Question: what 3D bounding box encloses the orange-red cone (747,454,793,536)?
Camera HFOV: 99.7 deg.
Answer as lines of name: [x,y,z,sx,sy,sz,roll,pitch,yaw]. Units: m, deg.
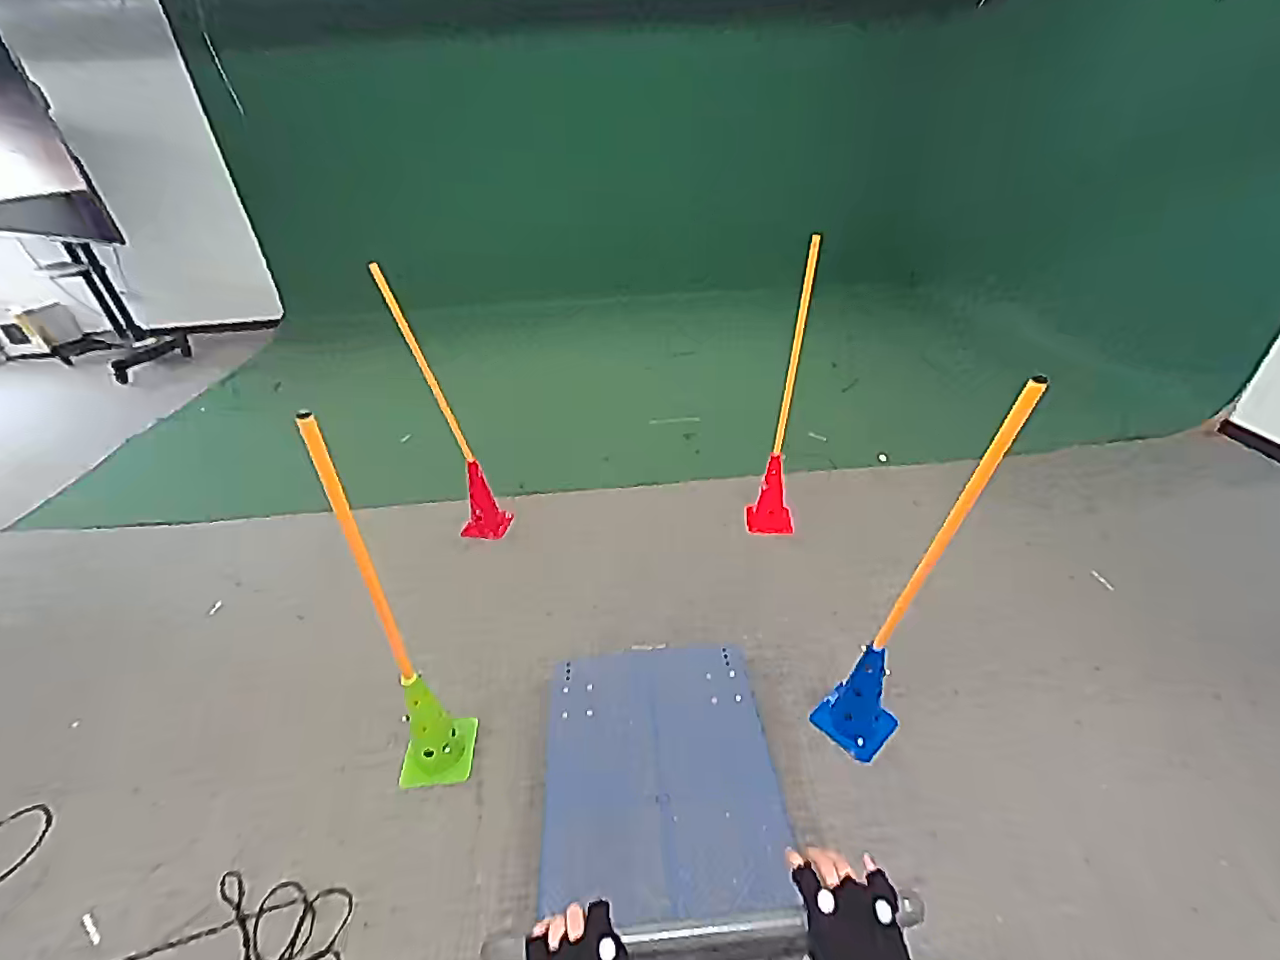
orange-red cone: [0.577,0.049,2.357,0.198,0.360,0.199,1,35,7]
